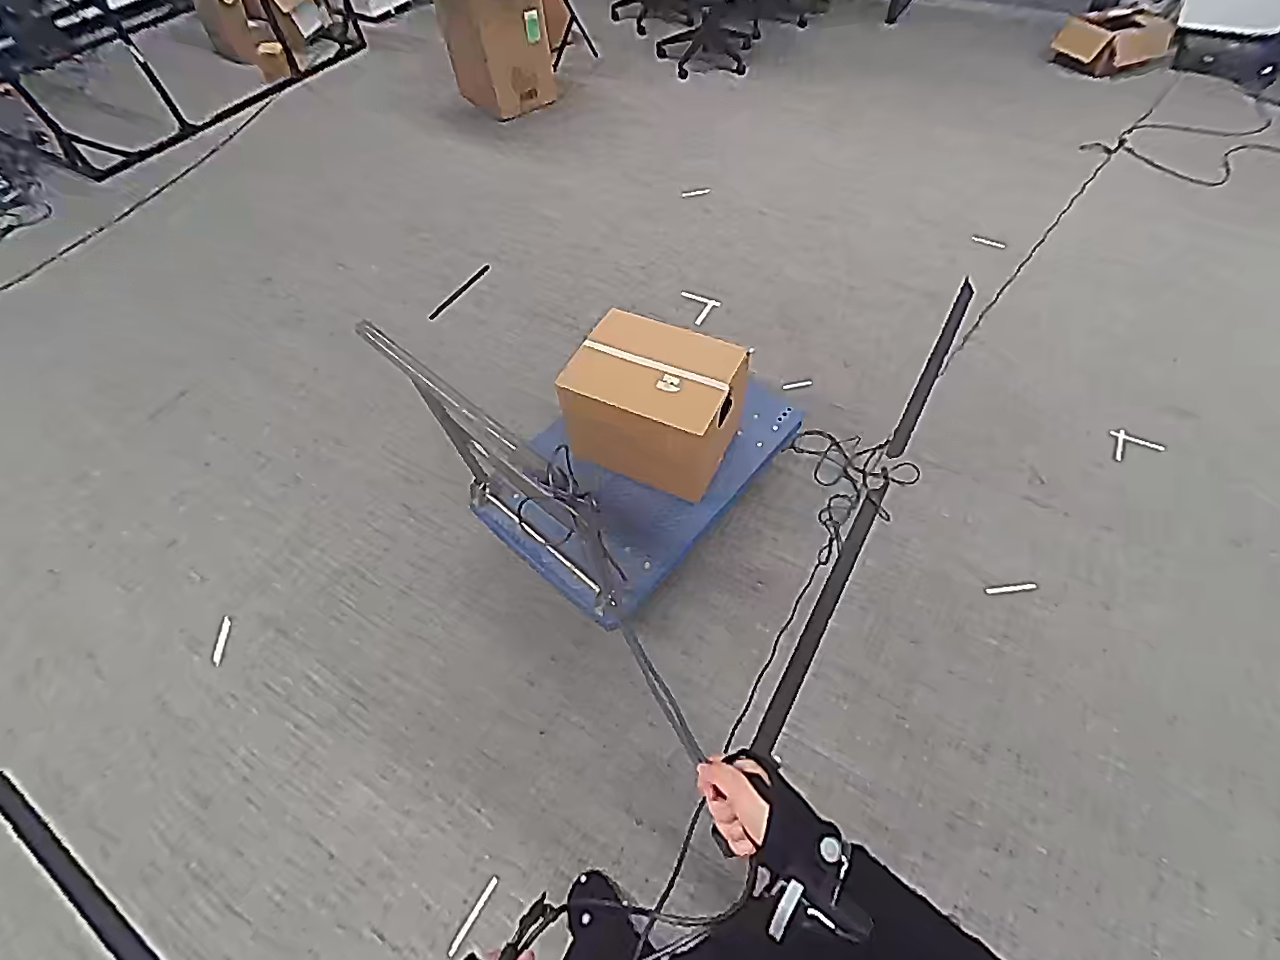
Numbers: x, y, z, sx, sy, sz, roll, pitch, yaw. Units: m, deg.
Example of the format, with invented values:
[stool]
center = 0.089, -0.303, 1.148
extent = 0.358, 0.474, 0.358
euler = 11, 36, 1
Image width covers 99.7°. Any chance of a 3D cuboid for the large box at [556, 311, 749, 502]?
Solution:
[large box]
center = 0.036, -0.197, 1.471
extent = 0.408, 0.320, 0.320
euler = 22, 61, 16
